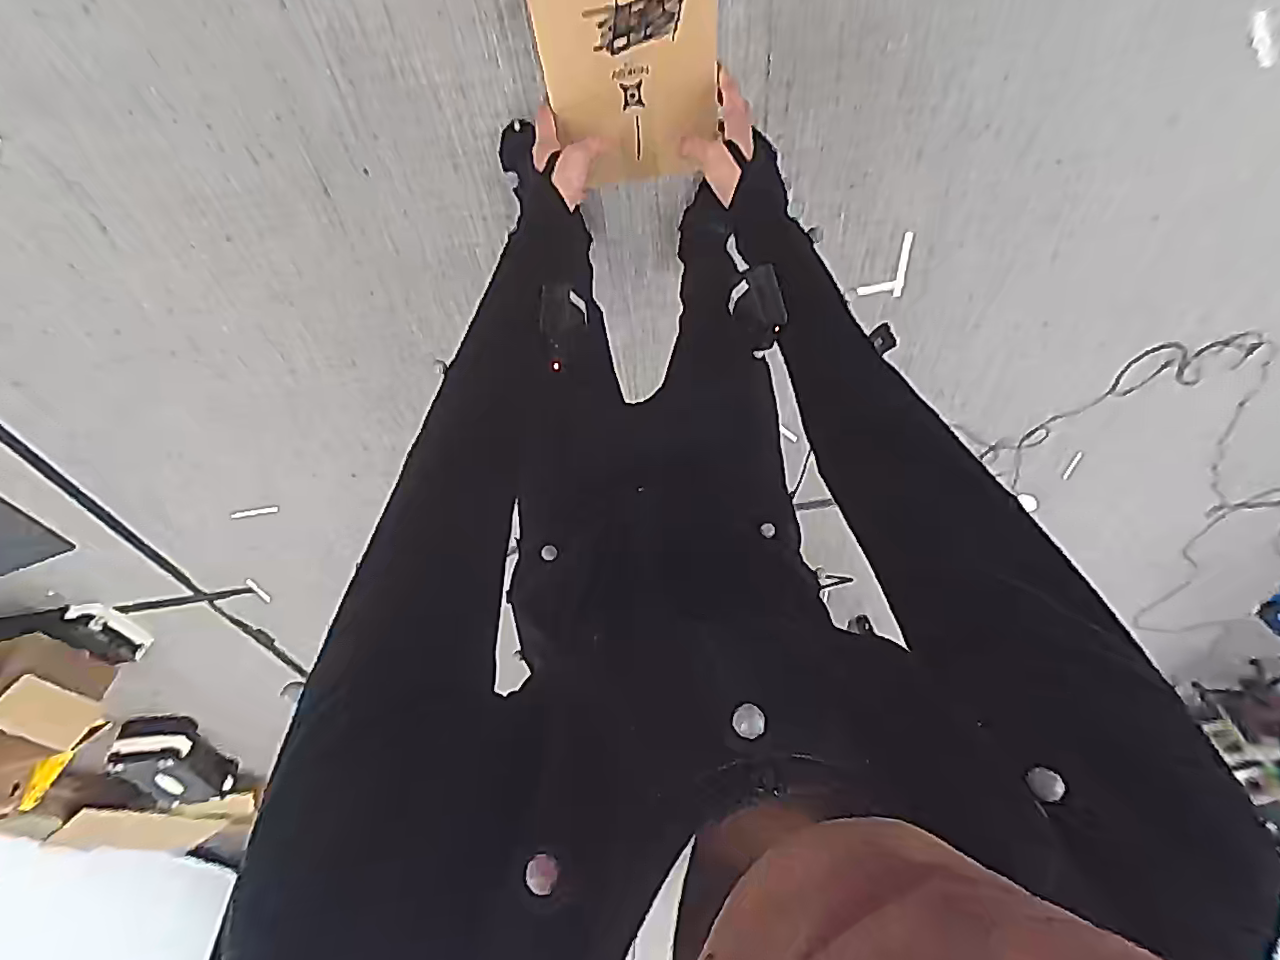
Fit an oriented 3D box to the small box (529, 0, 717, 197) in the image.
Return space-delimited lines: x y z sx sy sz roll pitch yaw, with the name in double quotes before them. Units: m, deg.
"small box" -0.013 -0.434 0.571 0.168 0.176 0.179 -7 141 3
